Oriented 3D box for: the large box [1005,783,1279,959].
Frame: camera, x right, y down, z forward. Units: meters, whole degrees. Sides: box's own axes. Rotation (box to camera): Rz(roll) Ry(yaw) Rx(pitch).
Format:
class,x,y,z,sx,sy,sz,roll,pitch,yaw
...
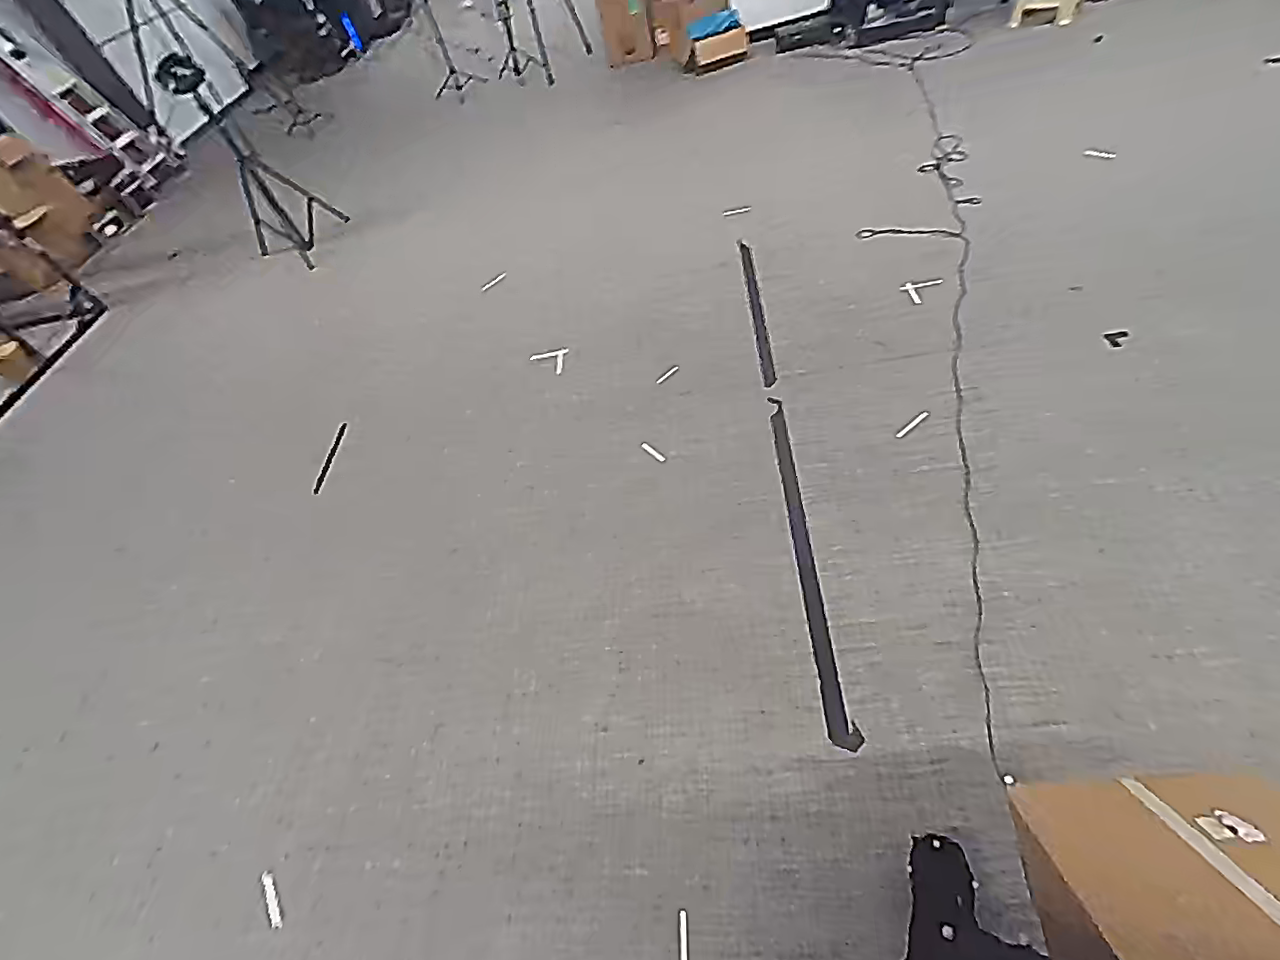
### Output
class,x,y,z,sx,sy,sz,roll,pitch,yaw
large box,0.676,0.589,0.583,0.320,0.408,0.320,-12,83,16
